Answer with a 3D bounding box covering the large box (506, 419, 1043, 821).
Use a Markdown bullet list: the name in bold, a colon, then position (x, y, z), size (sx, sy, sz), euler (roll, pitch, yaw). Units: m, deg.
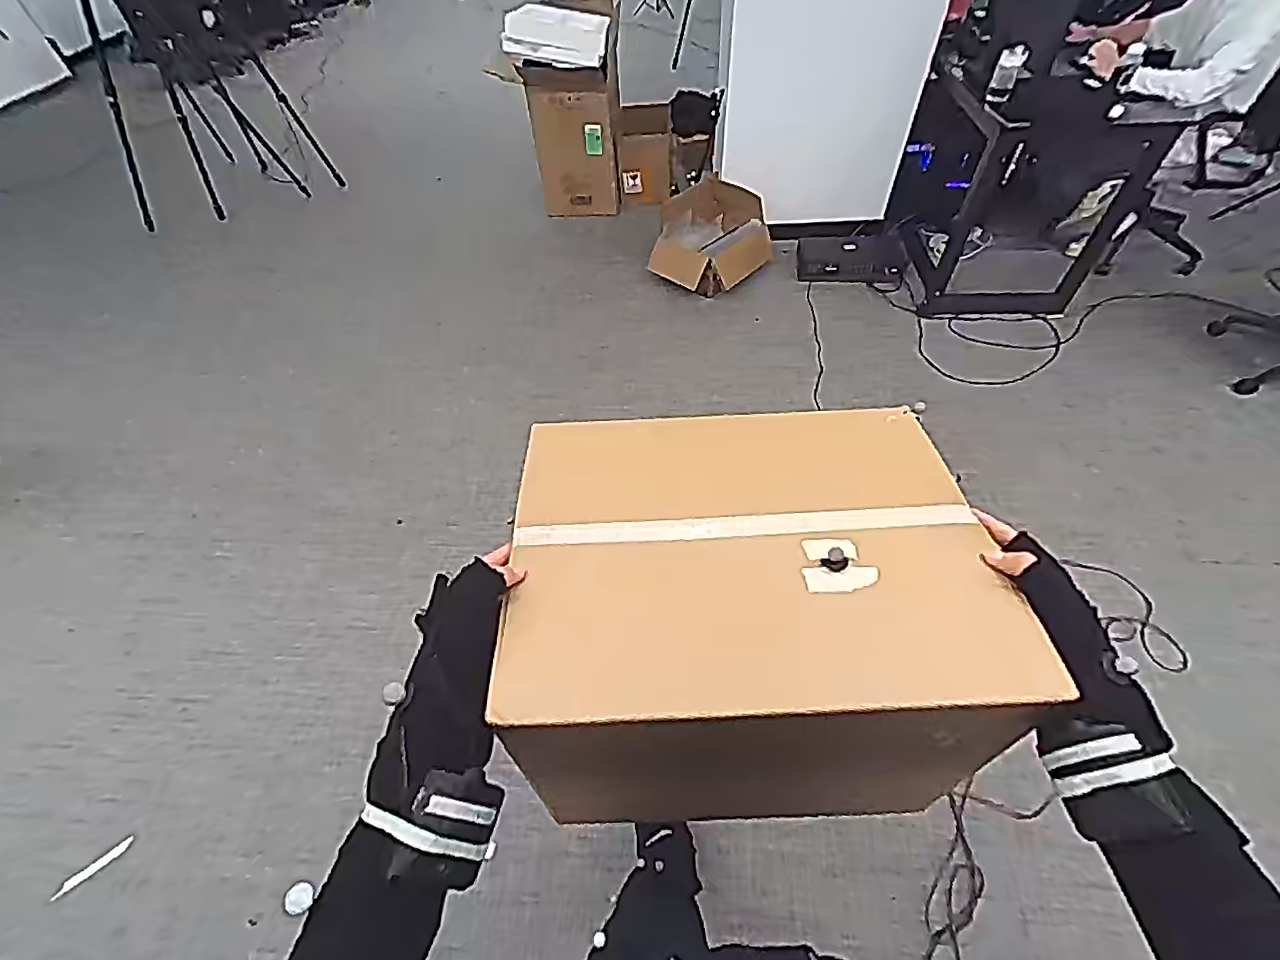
- **large box**: position (0.097, 0.156, 0.601), size (0.408, 0.320, 0.320), euler (-3, 46, 0)
